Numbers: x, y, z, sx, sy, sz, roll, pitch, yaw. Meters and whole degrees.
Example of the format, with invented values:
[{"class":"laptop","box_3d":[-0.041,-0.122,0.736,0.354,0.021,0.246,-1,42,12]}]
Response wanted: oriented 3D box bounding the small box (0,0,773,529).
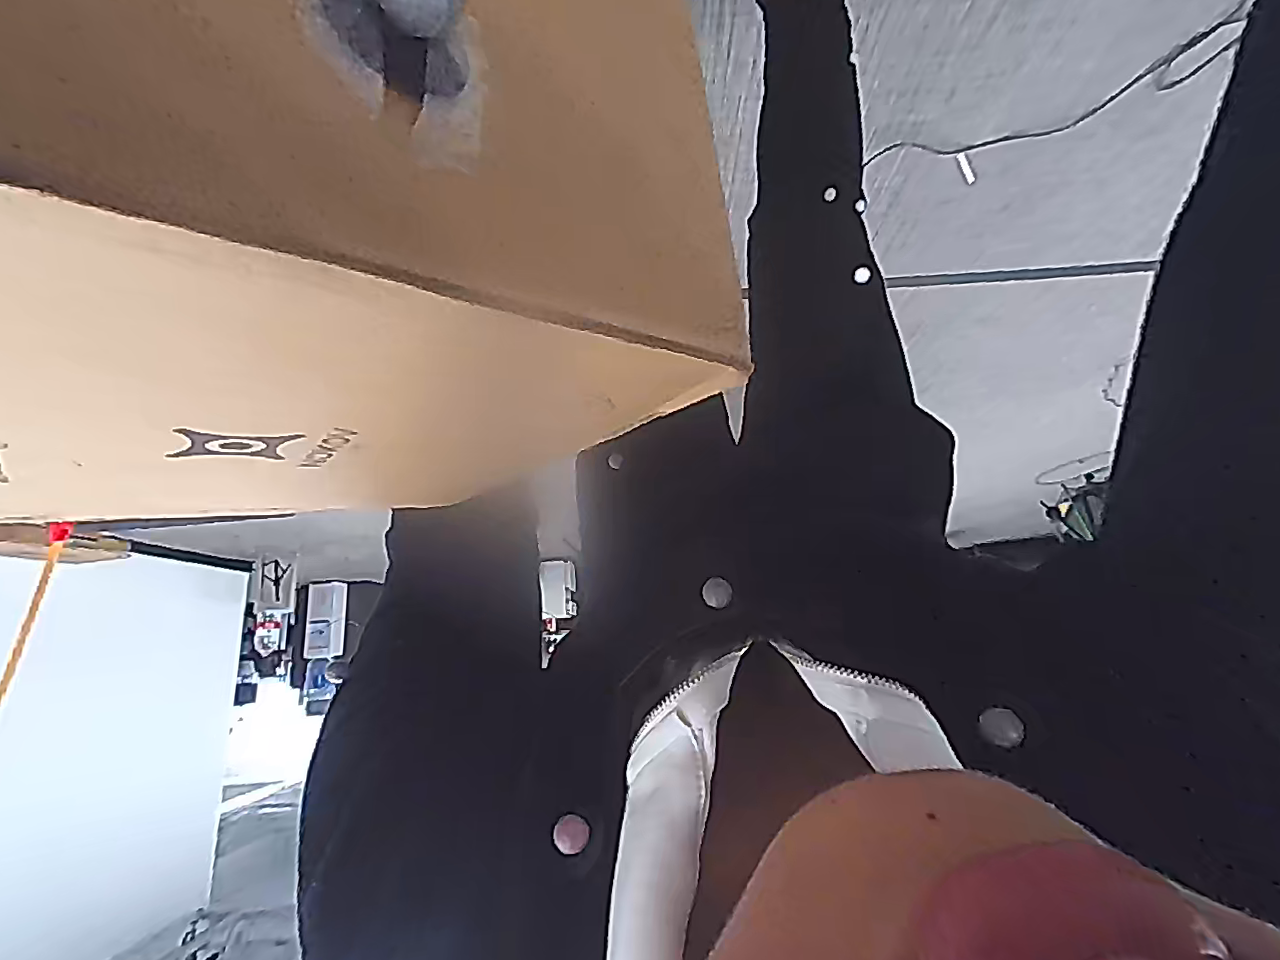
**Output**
[{"class":"small box","box_3d":[-0.095,-0.086,0.132,0.179,0.176,0.168,1,166,-43]}]
